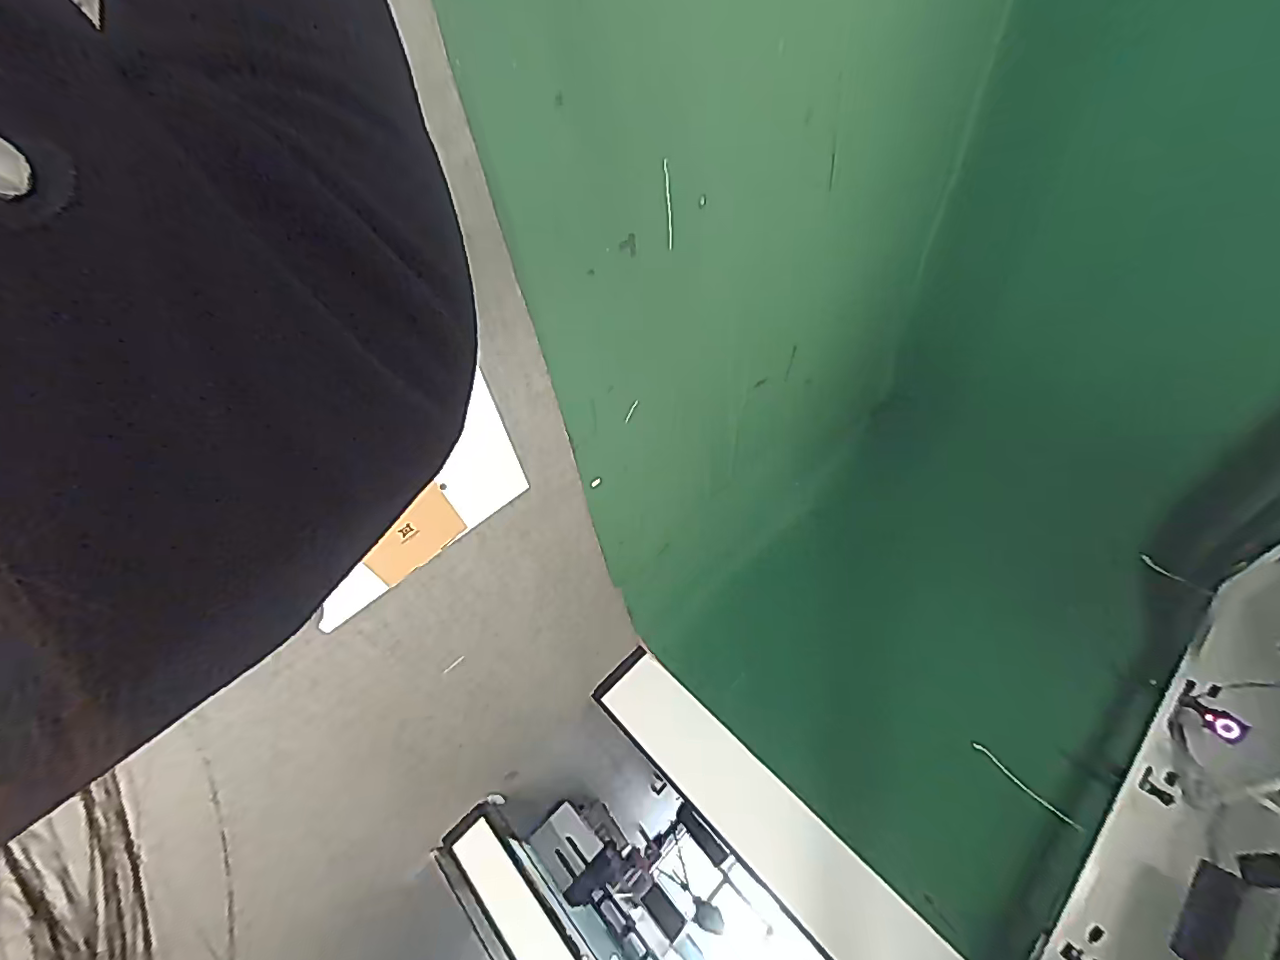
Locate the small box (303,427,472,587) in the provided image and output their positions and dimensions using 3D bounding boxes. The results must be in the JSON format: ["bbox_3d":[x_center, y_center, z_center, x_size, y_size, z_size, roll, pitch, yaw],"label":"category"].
[{"bbox_3d":[-0.425,0.042,0.920,0.168,0.176,0.179,-41,145,-19],"label":"small box"}]
